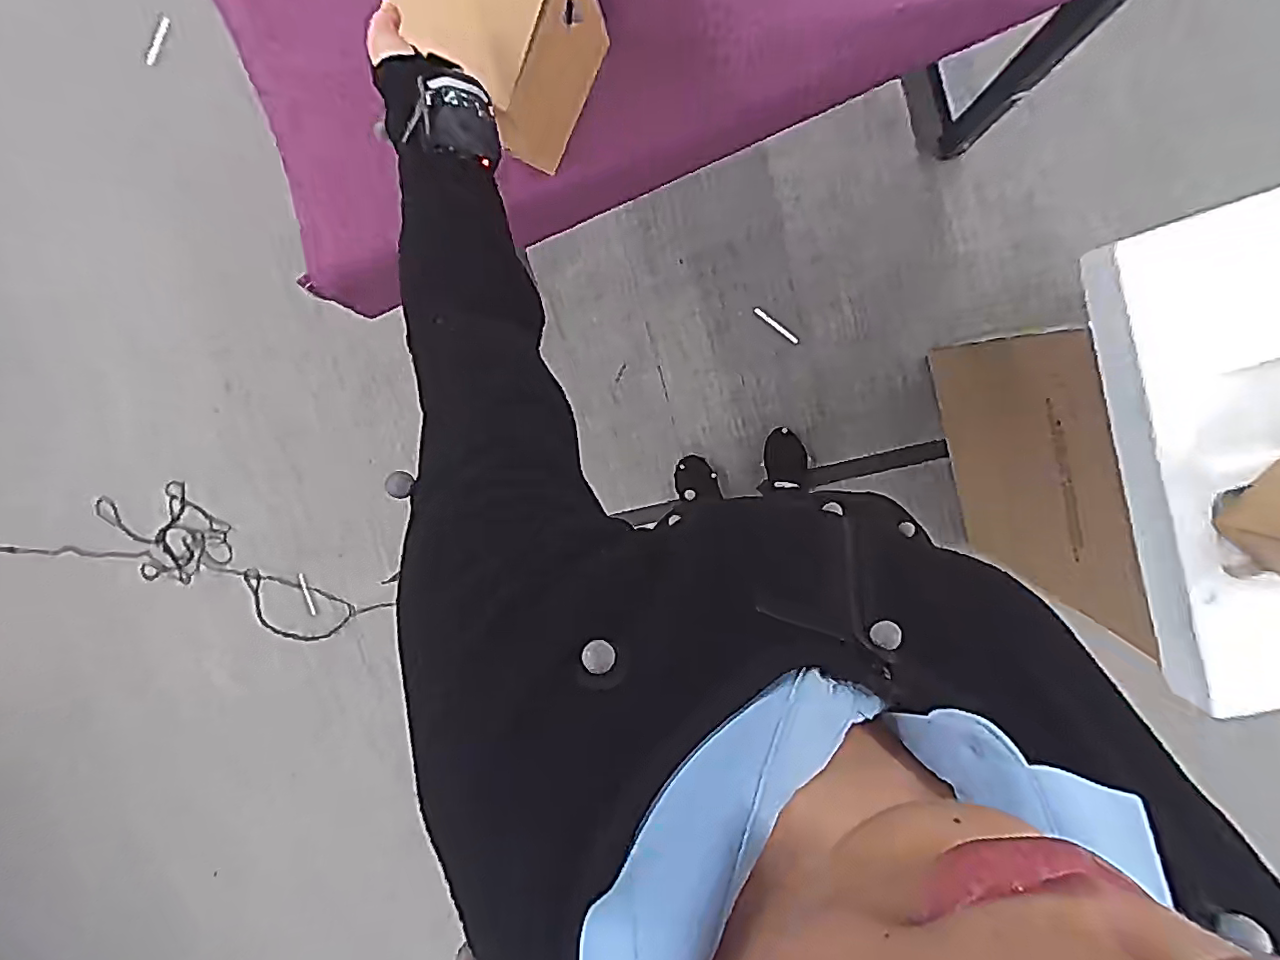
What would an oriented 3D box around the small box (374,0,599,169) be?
[{"bbox_3d":[-0.160,-0.508,0.625,0.168,0.176,0.179,28,101,4],"label":"small box"}]
